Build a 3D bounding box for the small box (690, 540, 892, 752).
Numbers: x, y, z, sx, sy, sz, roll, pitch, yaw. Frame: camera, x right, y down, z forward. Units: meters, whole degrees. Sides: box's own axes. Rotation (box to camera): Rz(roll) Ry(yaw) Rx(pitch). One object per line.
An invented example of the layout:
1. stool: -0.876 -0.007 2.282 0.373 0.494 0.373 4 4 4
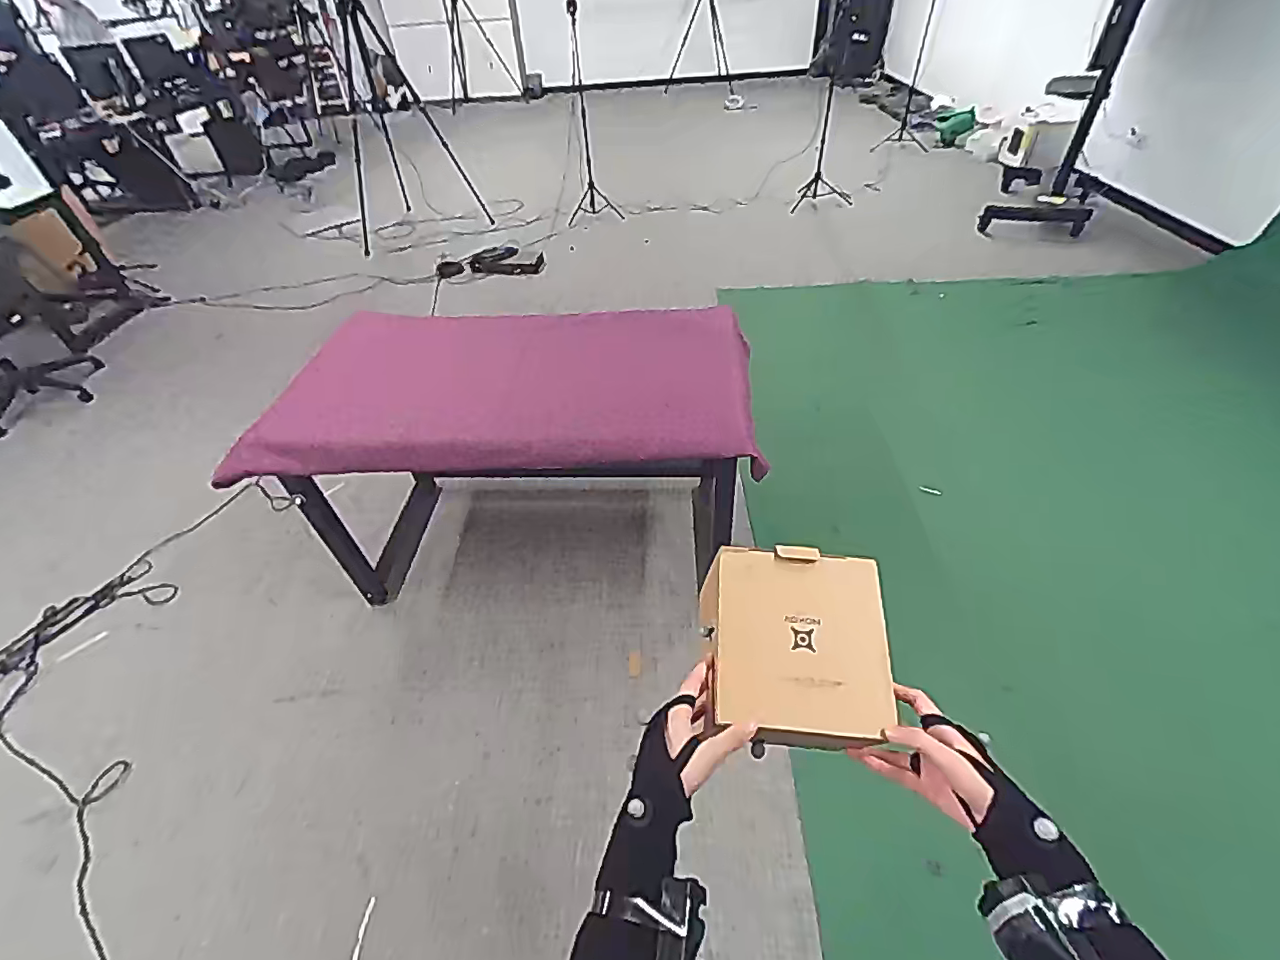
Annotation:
1. small box: 0.148 0.185 0.587 0.168 0.176 0.179 6 61 2
